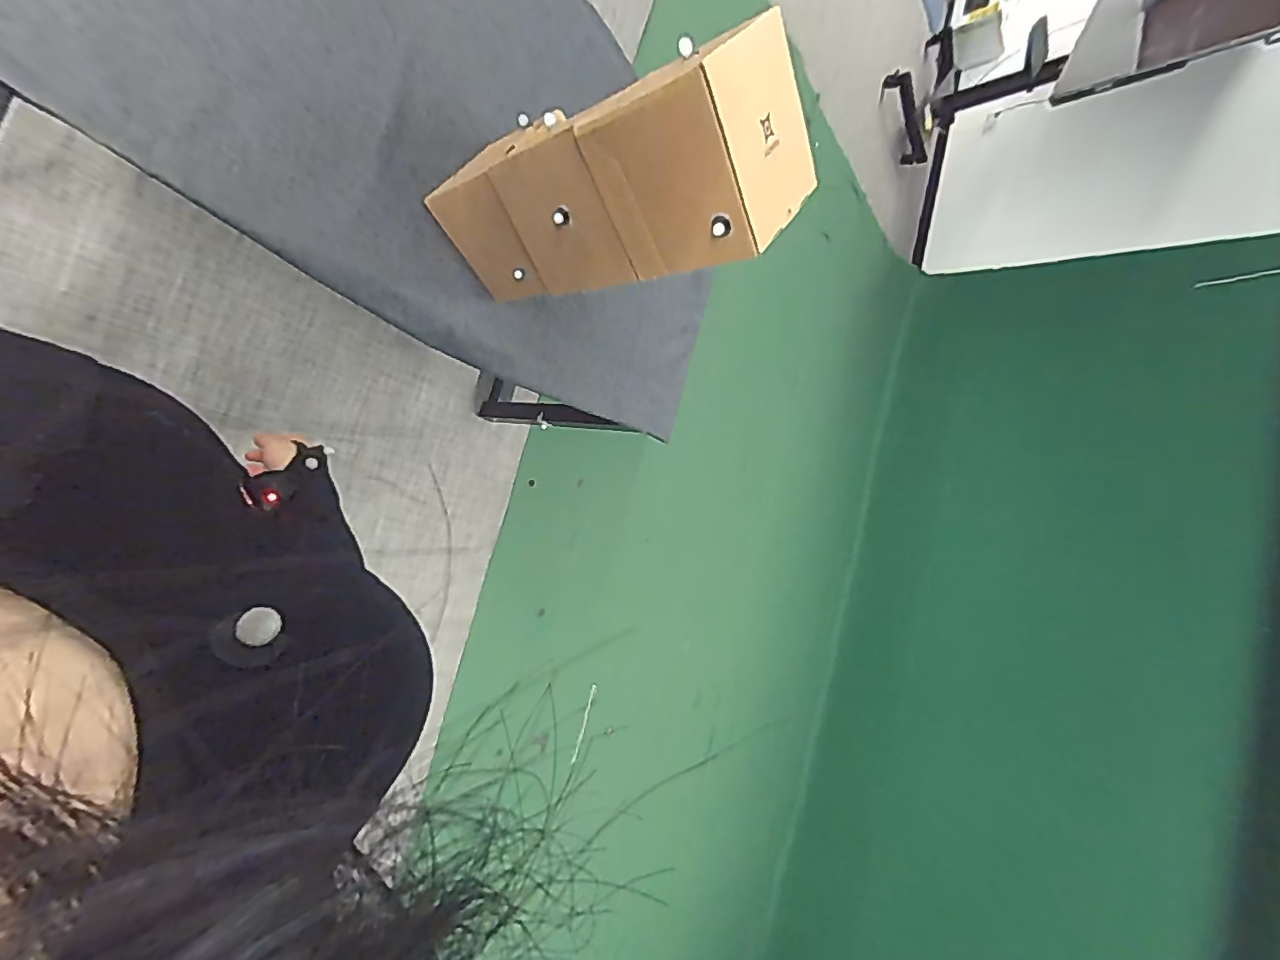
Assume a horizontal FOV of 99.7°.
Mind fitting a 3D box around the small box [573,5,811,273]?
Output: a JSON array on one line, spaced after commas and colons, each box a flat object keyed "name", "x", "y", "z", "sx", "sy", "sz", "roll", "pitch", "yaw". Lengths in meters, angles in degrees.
[{"name": "small box", "x": 0.059, "y": -0.349, "z": 0.582, "sx": 0.168, "sy": 0.176, "sz": 0.179, "roll": -54, "pitch": 132, "yaw": -29}]

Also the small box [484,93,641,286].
[{"name": "small box", "x": -0.060, "y": -0.366, "z": 0.692, "sx": 0.168, "sy": 0.176, "sz": 0.179, "roll": -52, "pitch": 130, "yaw": -30}]
